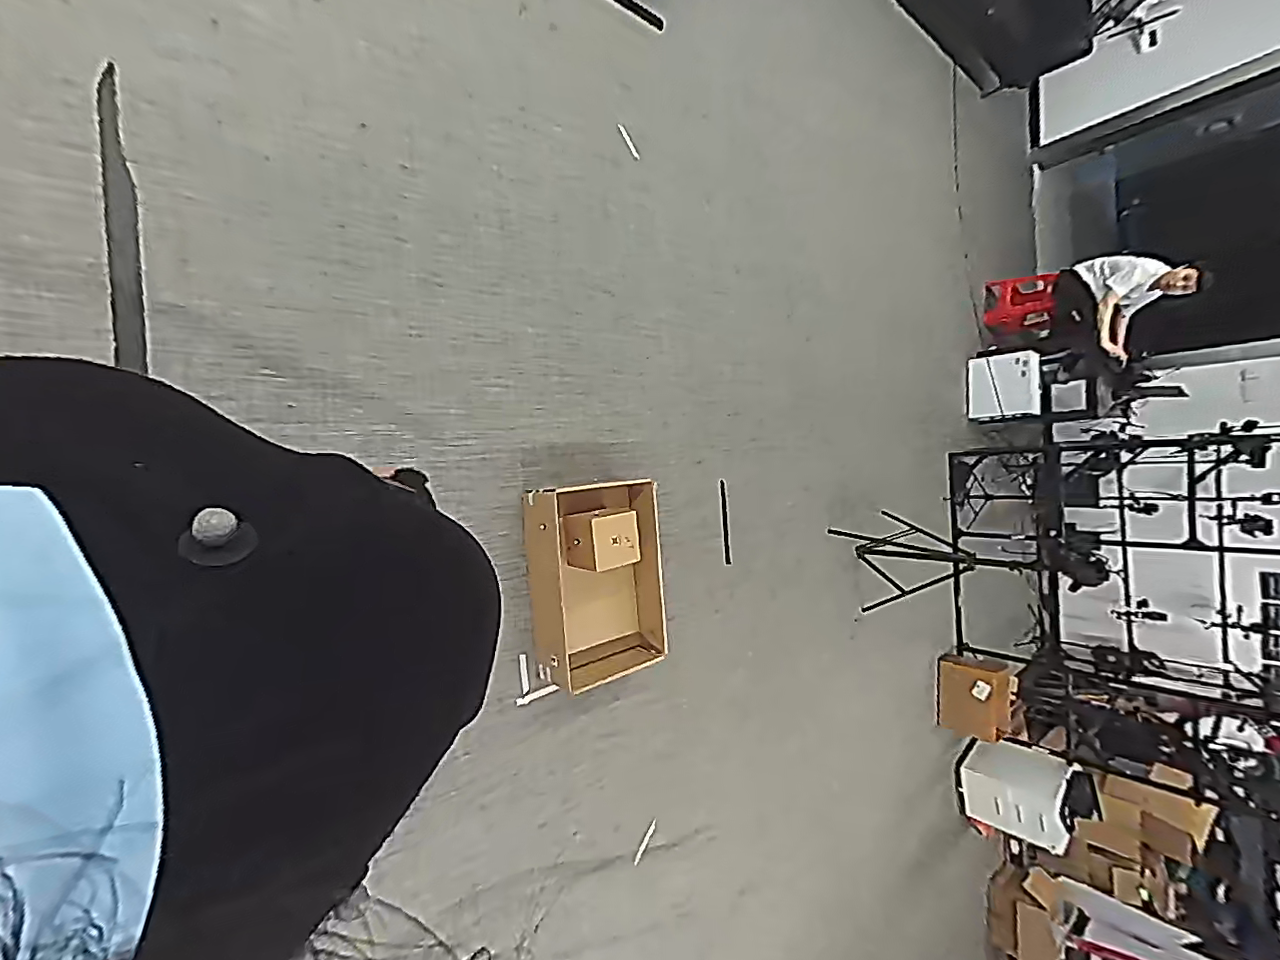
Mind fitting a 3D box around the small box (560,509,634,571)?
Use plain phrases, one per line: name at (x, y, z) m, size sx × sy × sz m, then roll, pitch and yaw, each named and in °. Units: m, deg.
small box at (-0.143, 0.187, 1.733) m, size 0.179 × 0.176 × 0.168 m, roll -9°, pitch 96°, yaw -40°
